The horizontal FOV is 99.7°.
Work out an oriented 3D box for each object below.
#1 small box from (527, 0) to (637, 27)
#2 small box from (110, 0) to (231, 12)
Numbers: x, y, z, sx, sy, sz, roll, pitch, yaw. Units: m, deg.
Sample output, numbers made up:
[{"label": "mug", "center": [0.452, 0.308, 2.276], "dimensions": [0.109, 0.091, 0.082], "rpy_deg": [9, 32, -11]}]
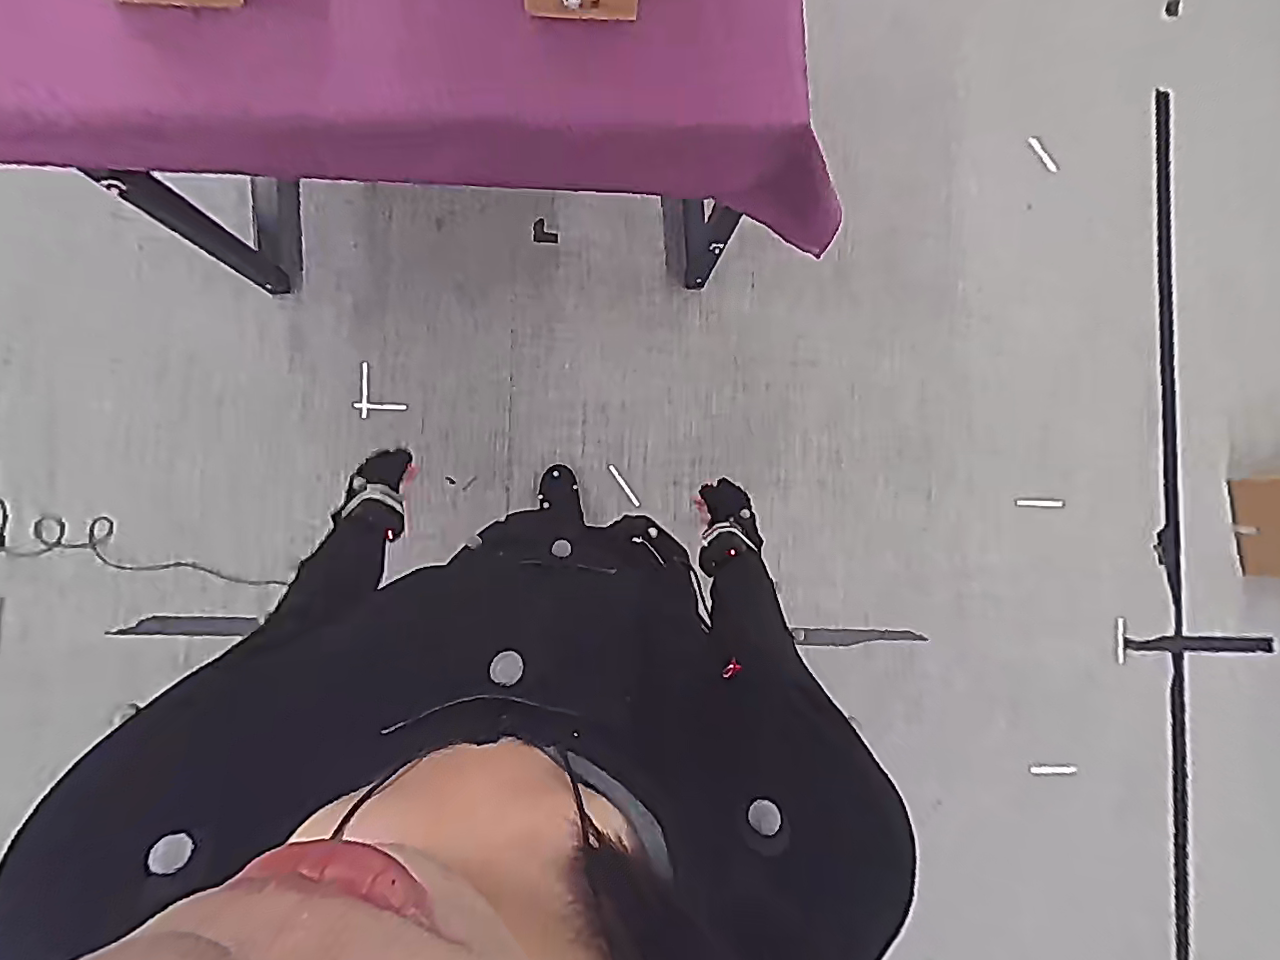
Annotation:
[{"label": "small box", "center": [-0.086, -0.780, 0.744], "dimensions": [0.168, 0.176, 0.179], "rpy_deg": [-3, 89, -4]}, {"label": "small box", "center": [-0.644, -0.744, 0.684], "dimensions": [0.179, 0.176, 0.168], "rpy_deg": [-2, 88, -7]}]
